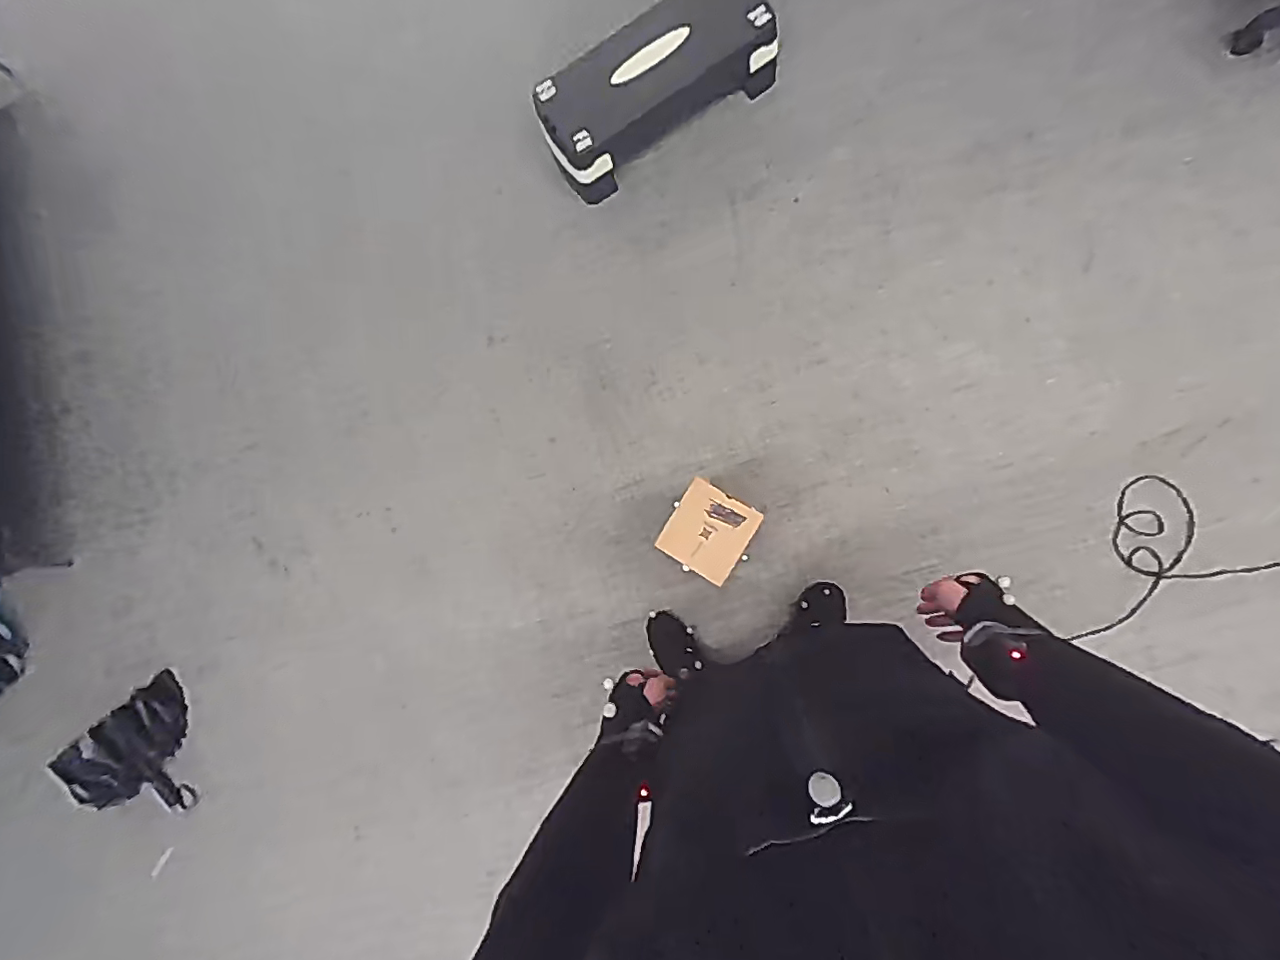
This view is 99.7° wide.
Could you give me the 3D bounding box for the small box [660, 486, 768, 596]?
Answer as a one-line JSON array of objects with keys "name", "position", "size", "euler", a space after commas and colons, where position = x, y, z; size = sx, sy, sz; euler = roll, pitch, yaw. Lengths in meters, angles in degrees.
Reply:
[{"name": "small box", "position": [0.164, 0.135, 1.200], "size": [0.168, 0.176, 0.179], "euler": [31, 89, 14]}]
